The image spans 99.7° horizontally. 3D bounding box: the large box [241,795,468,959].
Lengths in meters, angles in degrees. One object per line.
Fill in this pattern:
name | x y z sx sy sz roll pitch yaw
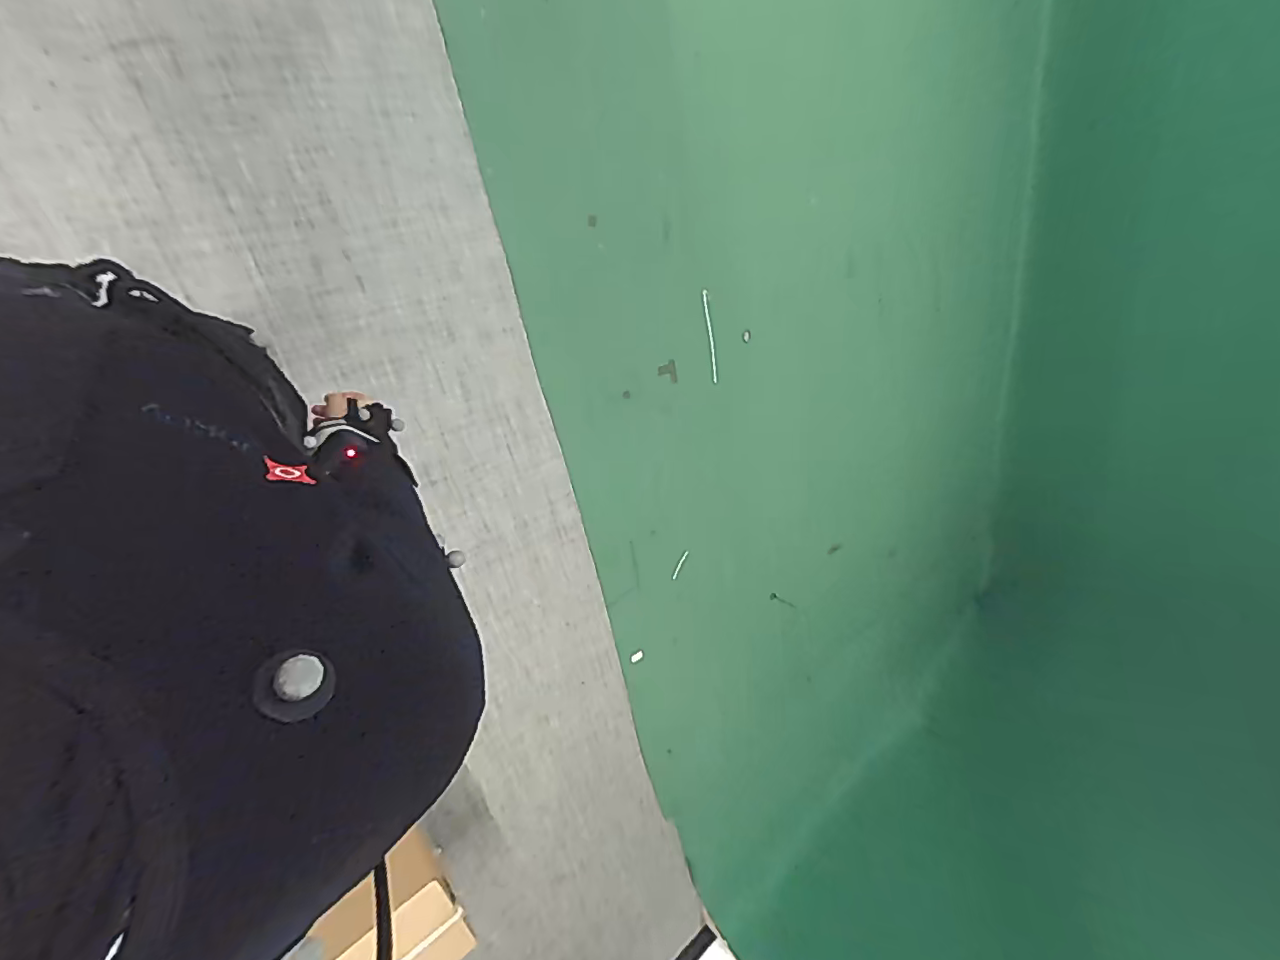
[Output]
large box | -0.727 1.135 1.395 0.408 0.320 0.320 -28 119 -28
